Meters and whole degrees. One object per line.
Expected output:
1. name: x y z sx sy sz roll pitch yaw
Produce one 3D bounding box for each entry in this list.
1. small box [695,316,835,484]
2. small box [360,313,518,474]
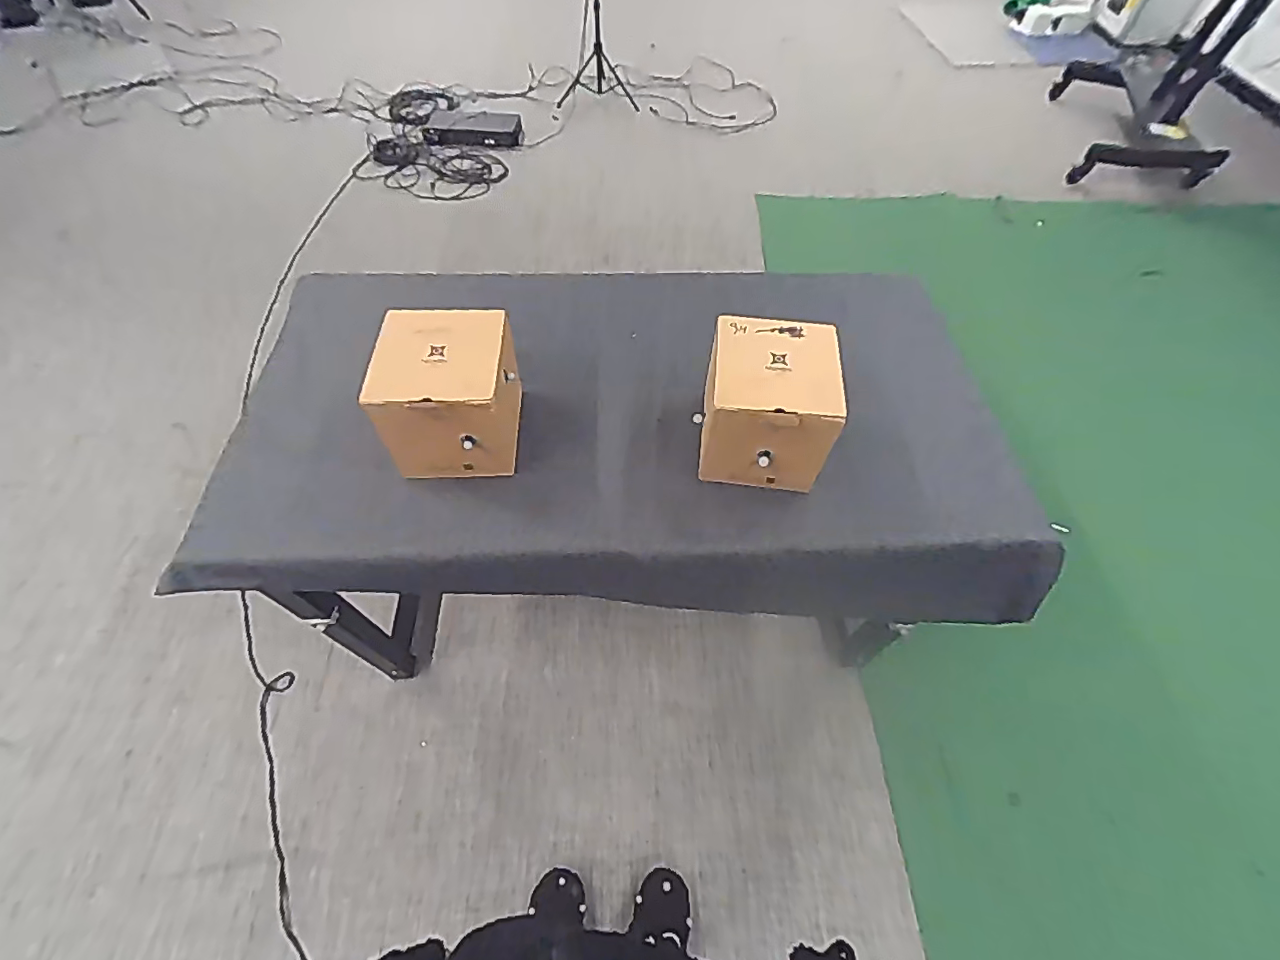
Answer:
1. small box: 0.173 -0.111 0.787 0.168 0.176 0.179 6 58 3
2. small box: -0.276 -0.119 0.788 0.168 0.176 0.179 -2 55 -4
